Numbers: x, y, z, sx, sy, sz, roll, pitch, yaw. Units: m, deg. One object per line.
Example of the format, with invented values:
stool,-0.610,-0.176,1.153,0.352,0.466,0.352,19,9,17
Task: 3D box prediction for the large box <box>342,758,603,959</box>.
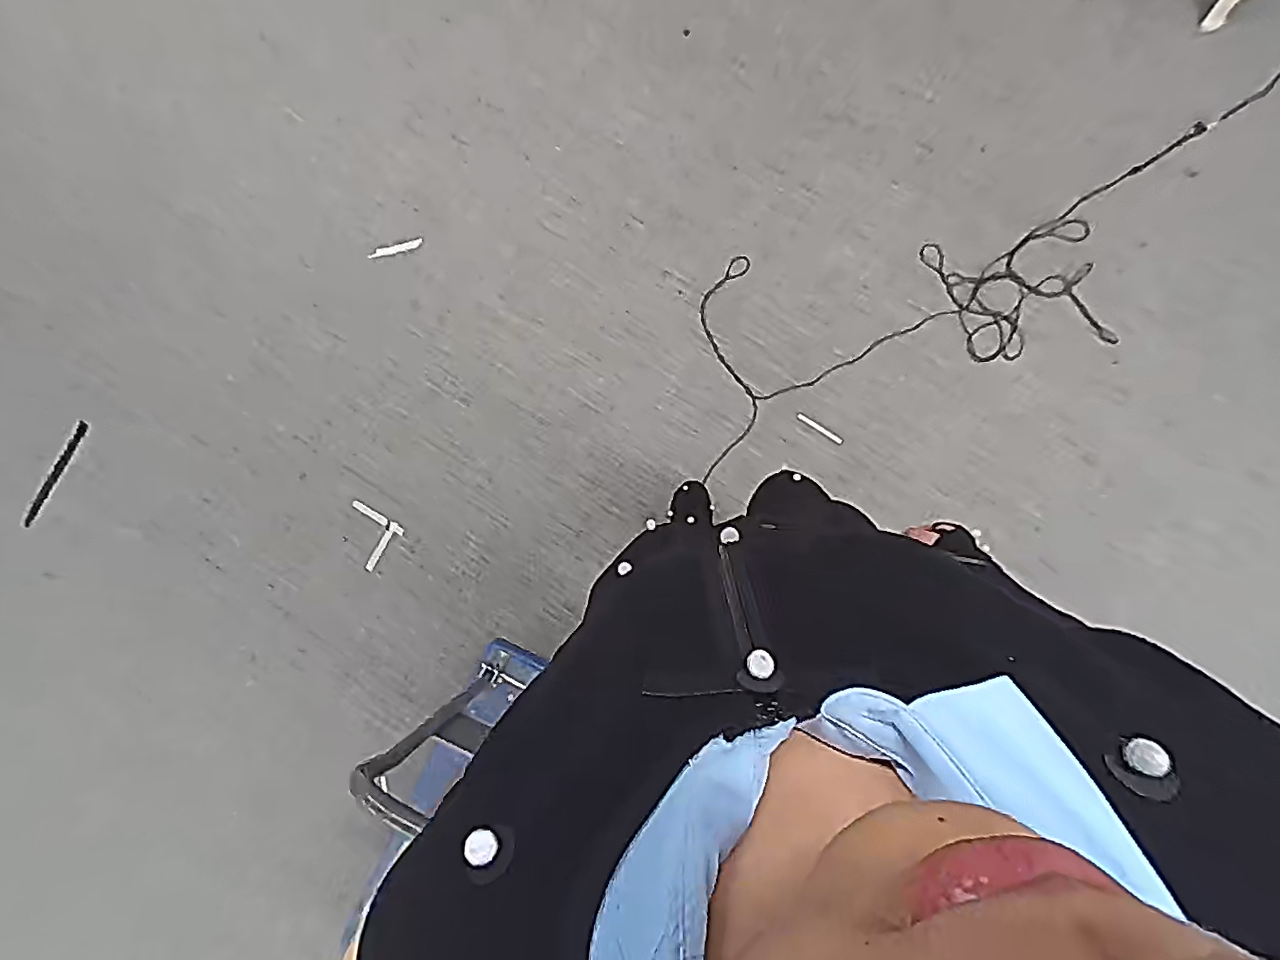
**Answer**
large box,-0.338,0.905,1.195,0.408,0.320,0.320,28,90,4
